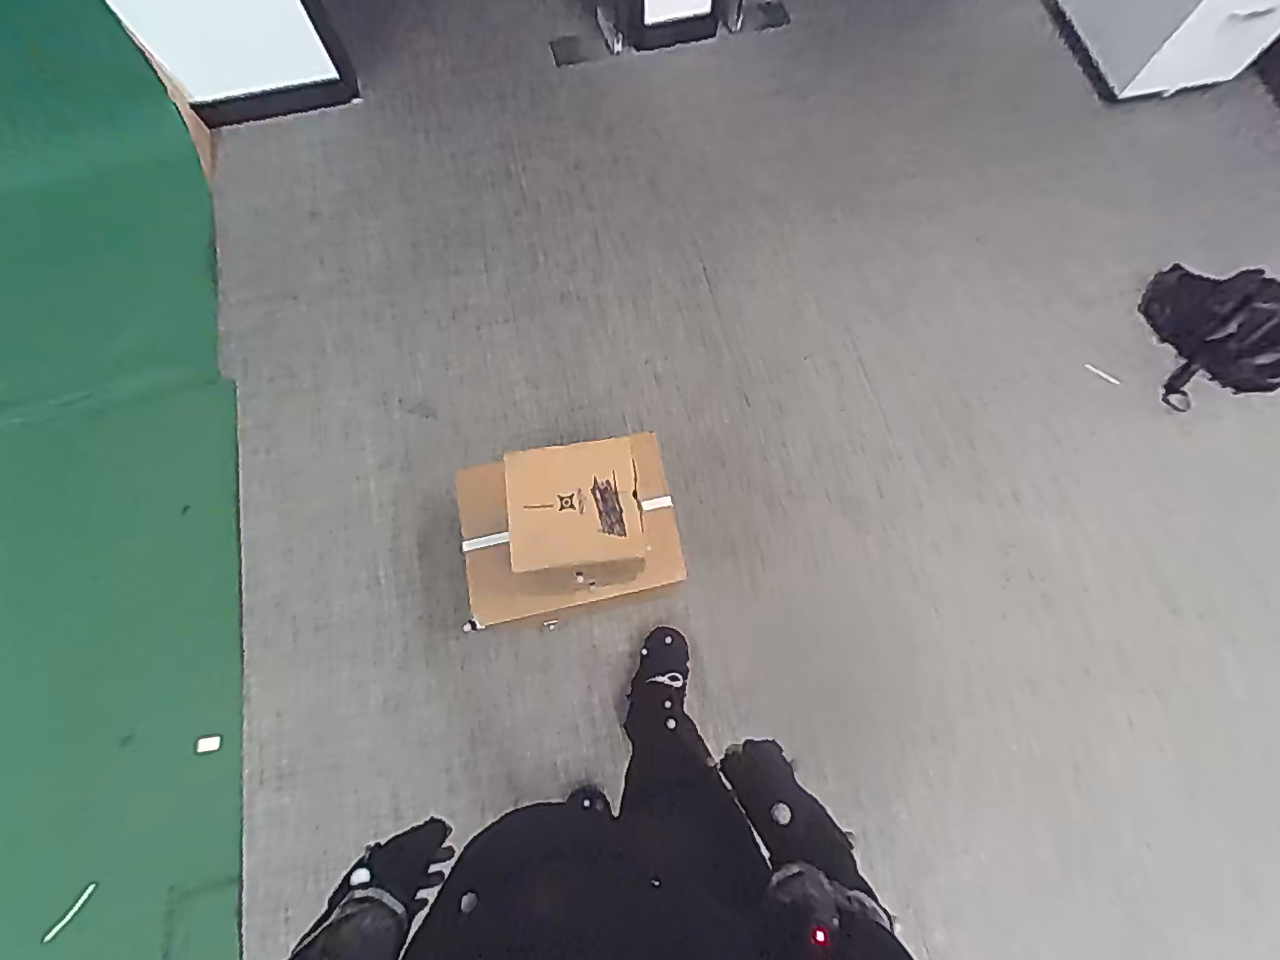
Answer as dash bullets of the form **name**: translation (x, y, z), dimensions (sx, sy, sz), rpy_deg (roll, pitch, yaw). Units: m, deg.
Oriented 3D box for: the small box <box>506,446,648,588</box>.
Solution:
- **small box**: translation (-0.086, 0.061, 0.789), dimensions (0.179, 0.176, 0.168), rpy_deg (-8, 74, -2)
